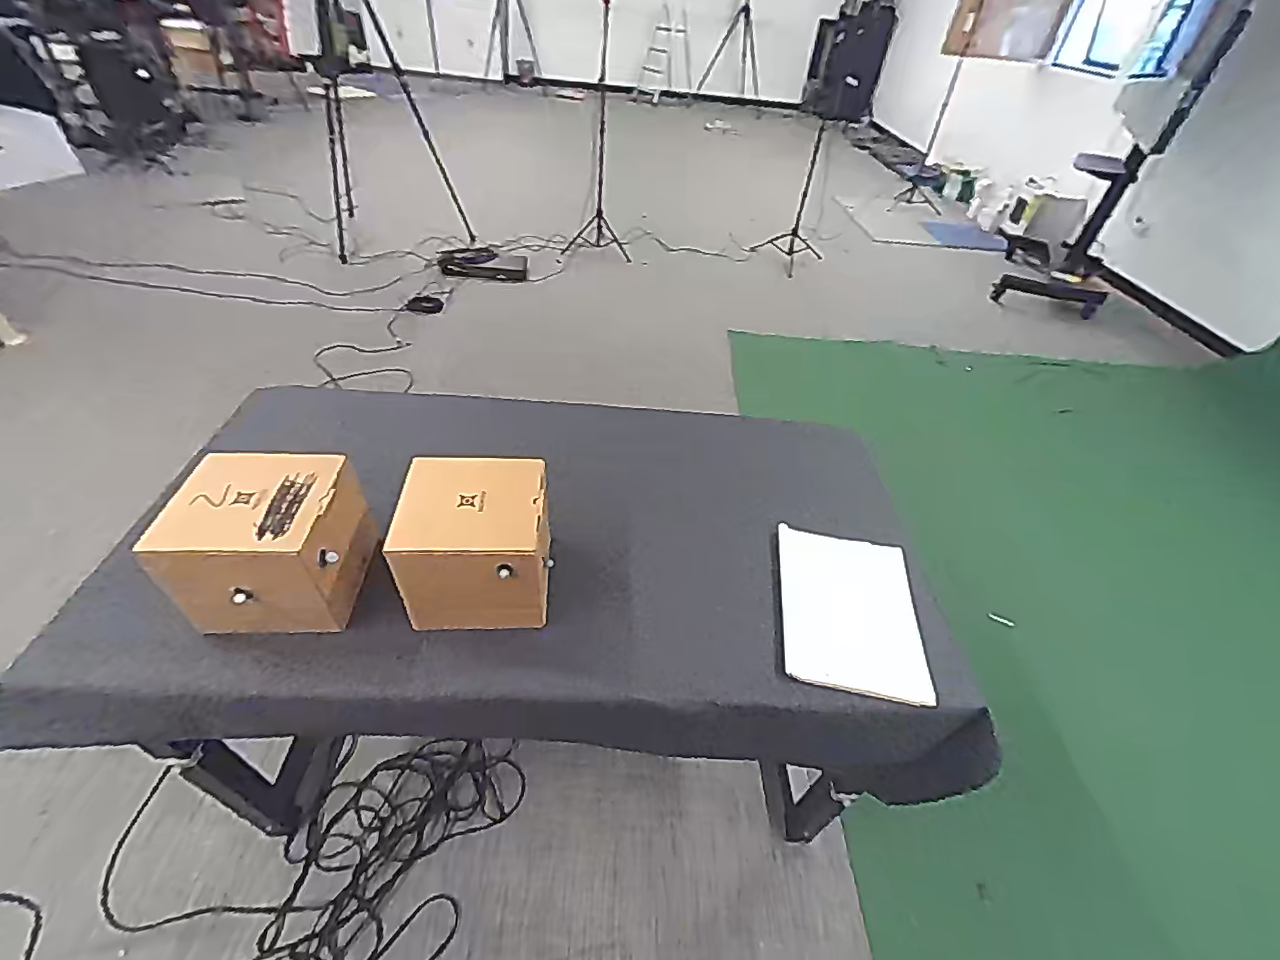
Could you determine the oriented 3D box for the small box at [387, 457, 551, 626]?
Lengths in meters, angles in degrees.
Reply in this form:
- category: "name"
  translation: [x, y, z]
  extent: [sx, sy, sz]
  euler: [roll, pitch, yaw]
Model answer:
- category: "small box"
  translation: [-0.216, 0.085, 0.737]
  extent: [0.179, 0.176, 0.168]
  euler: [1, 43, -7]
